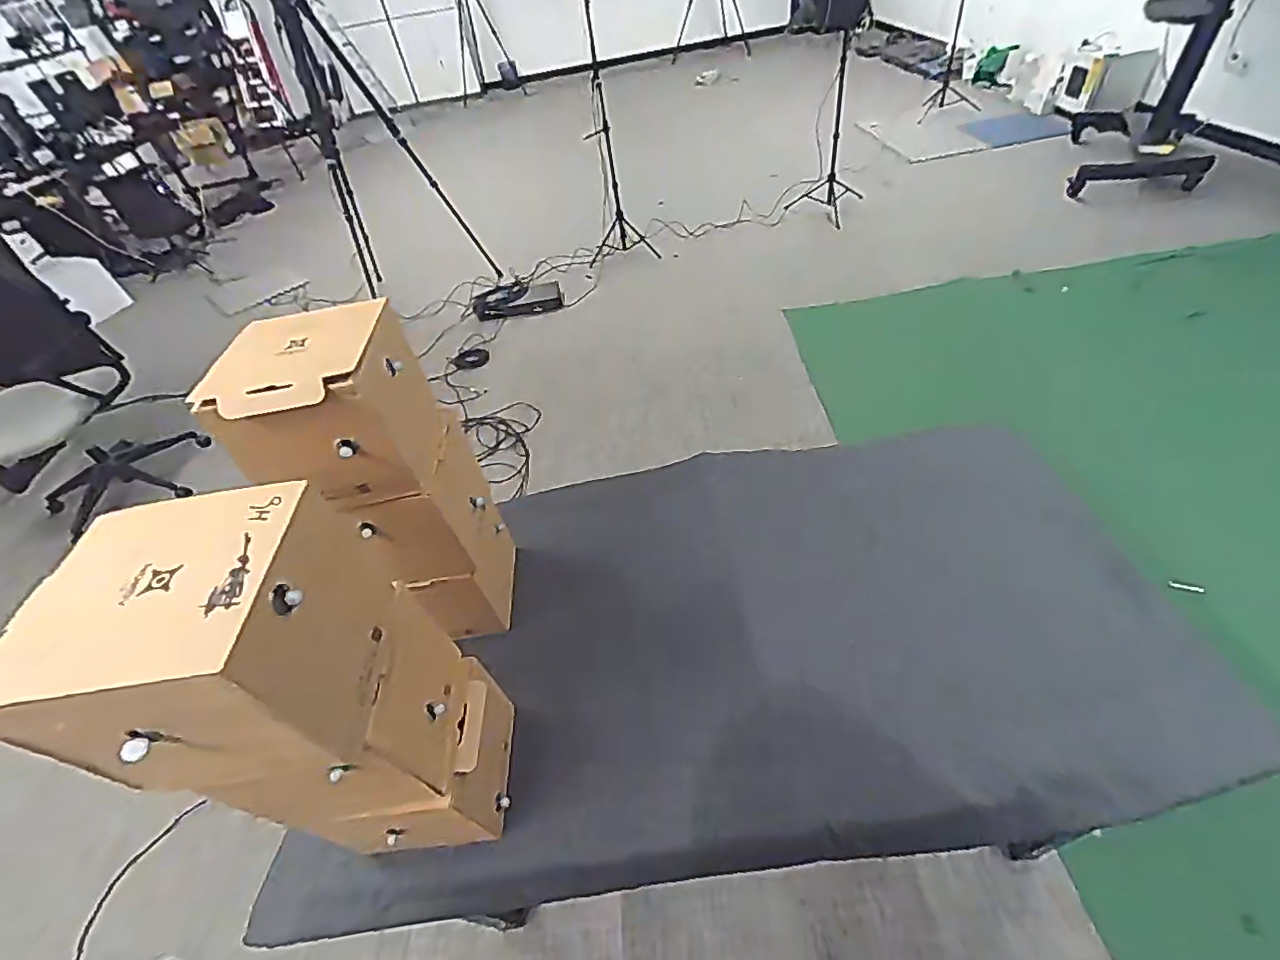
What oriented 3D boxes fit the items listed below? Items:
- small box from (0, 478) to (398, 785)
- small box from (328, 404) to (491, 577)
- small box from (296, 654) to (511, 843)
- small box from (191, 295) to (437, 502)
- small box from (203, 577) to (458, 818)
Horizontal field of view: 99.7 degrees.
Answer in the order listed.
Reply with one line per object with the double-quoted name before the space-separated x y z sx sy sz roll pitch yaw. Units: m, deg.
"small box" -0.330 0.125 0.433 0.179 0.176 0.168 -10 46 2
"small box" -0.327 0.021 0.753 0.179 0.176 0.168 -8 47 2
"small box" -0.273 0.337 0.675 0.179 0.176 0.168 -8 47 4
"small box" -0.356 -0.088 0.636 0.168 0.176 0.179 -11 46 -1
"small box" -0.310 0.228 0.560 0.179 0.176 0.168 -11 46 0
